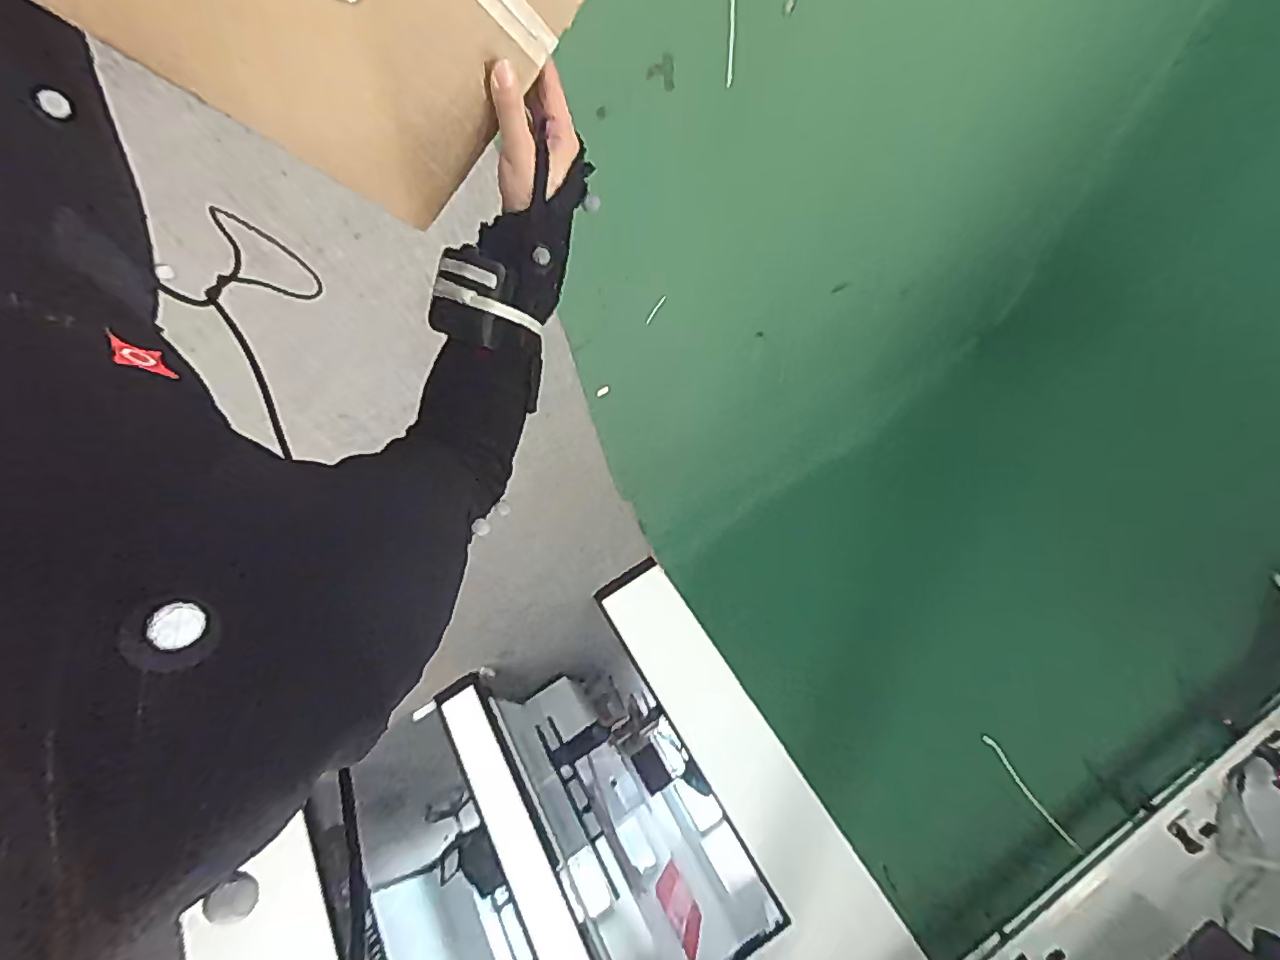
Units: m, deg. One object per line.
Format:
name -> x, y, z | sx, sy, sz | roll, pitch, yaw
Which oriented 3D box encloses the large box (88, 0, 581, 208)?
large box -> -0.241, -0.443, 0.274 | 0.320, 0.320, 0.408 | -43, 151, 22
